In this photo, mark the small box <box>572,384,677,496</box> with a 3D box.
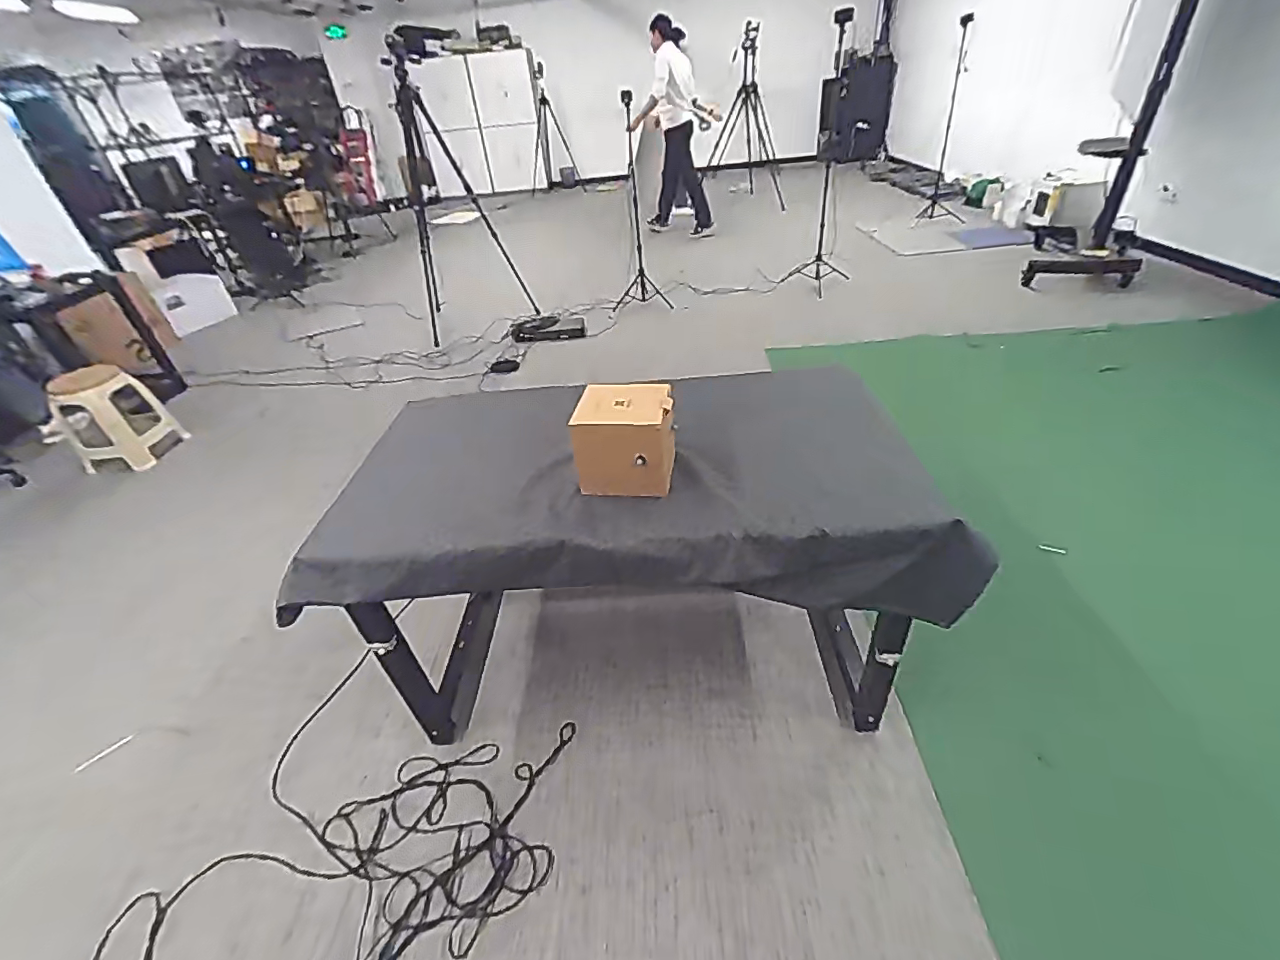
[{"bbox_3d":[-0.021,-0.079,1.084,0.179,0.176,0.168,1,36,10],"label":"small box"}]
